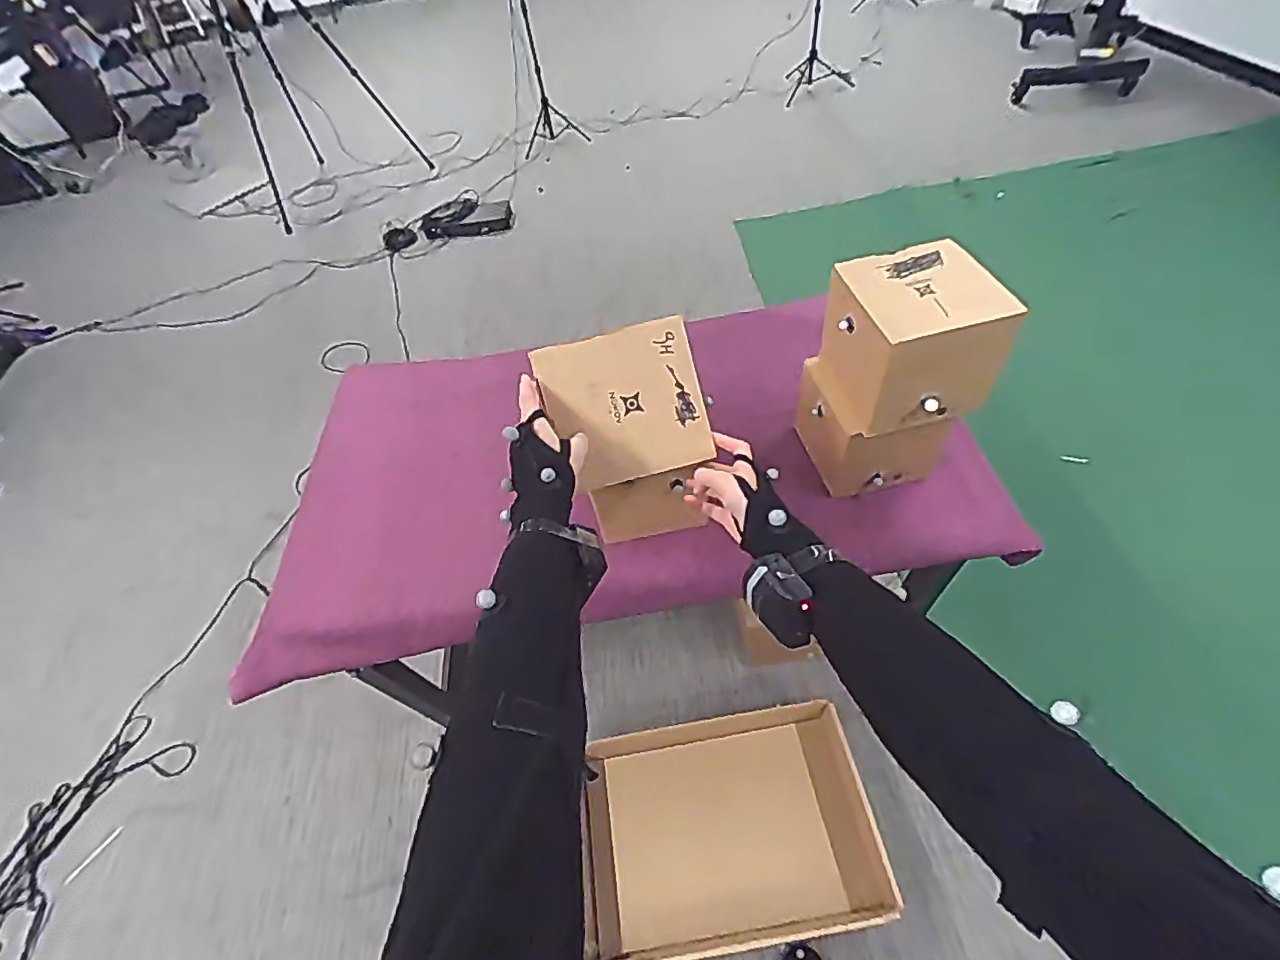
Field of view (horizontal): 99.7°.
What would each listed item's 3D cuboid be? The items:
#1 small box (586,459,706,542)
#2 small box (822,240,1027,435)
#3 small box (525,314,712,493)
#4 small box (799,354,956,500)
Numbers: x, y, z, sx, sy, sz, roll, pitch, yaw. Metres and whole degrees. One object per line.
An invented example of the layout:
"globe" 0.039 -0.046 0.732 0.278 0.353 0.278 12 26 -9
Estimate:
"small box" 0.006 -0.021 0.867 0.179 0.176 0.168 -11 51 1
"small box" 0.362 -0.190 0.733 0.168 0.176 0.179 -13 52 1
"small box" -0.025 -0.084 0.668 0.179 0.176 0.168 -15 92 -2
"small box" 0.365 -0.096 0.869 0.168 0.176 0.179 -13 51 0
